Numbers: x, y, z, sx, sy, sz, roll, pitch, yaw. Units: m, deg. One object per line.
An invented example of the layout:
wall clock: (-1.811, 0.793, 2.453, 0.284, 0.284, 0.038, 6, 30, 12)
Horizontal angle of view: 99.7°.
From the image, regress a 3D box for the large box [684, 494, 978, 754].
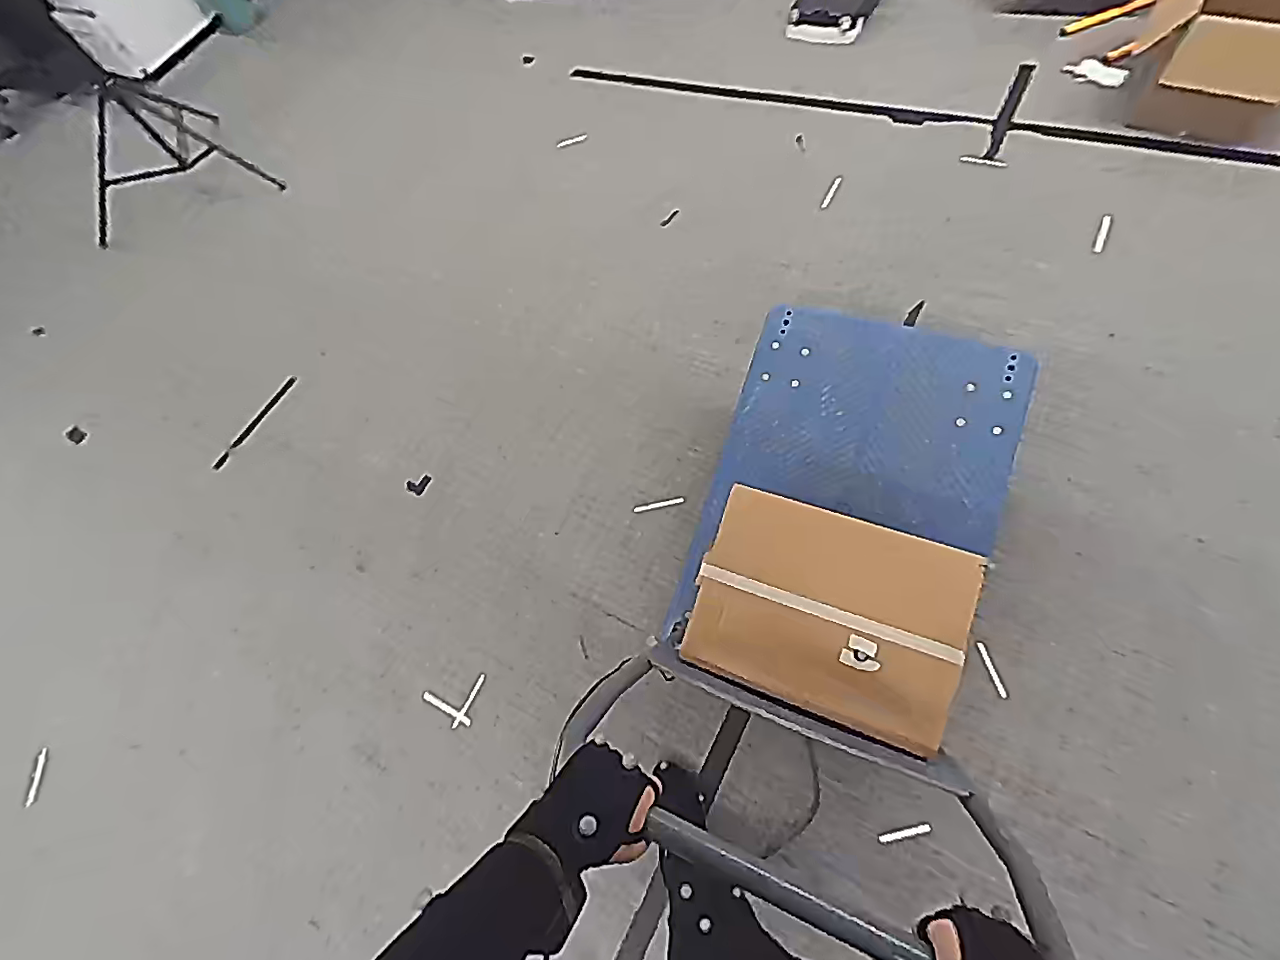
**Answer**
large box: (0.332, 0.245, 1.019, 0.408, 0.320, 0.320, 17, 84, 16)
